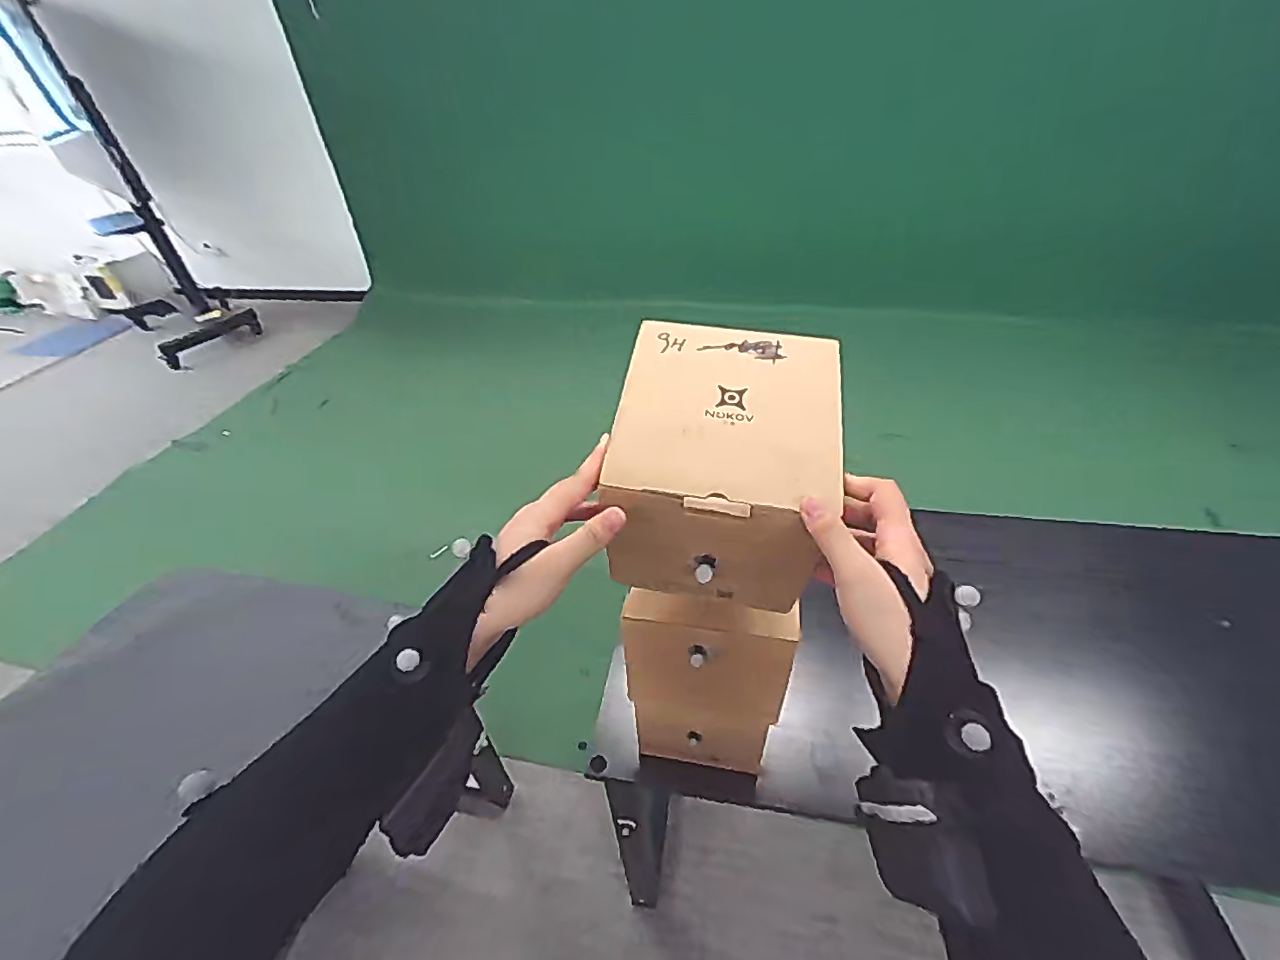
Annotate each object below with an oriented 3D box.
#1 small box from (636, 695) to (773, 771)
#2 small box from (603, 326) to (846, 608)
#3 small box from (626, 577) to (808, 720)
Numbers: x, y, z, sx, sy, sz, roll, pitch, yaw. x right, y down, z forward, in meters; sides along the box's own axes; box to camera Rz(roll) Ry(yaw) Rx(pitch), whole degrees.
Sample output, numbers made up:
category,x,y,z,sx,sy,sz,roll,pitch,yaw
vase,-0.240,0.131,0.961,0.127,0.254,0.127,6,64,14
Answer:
category,x,y,z,sx,sy,sz,roll,pitch,yaw
small box,0.095,0.270,0.744,0.168,0.176,0.179,5,40,10
small box,0.073,-0.005,0.471,0.168,0.176,0.179,8,56,8
small box,0.090,0.156,0.627,0.179,0.176,0.168,4,41,10
